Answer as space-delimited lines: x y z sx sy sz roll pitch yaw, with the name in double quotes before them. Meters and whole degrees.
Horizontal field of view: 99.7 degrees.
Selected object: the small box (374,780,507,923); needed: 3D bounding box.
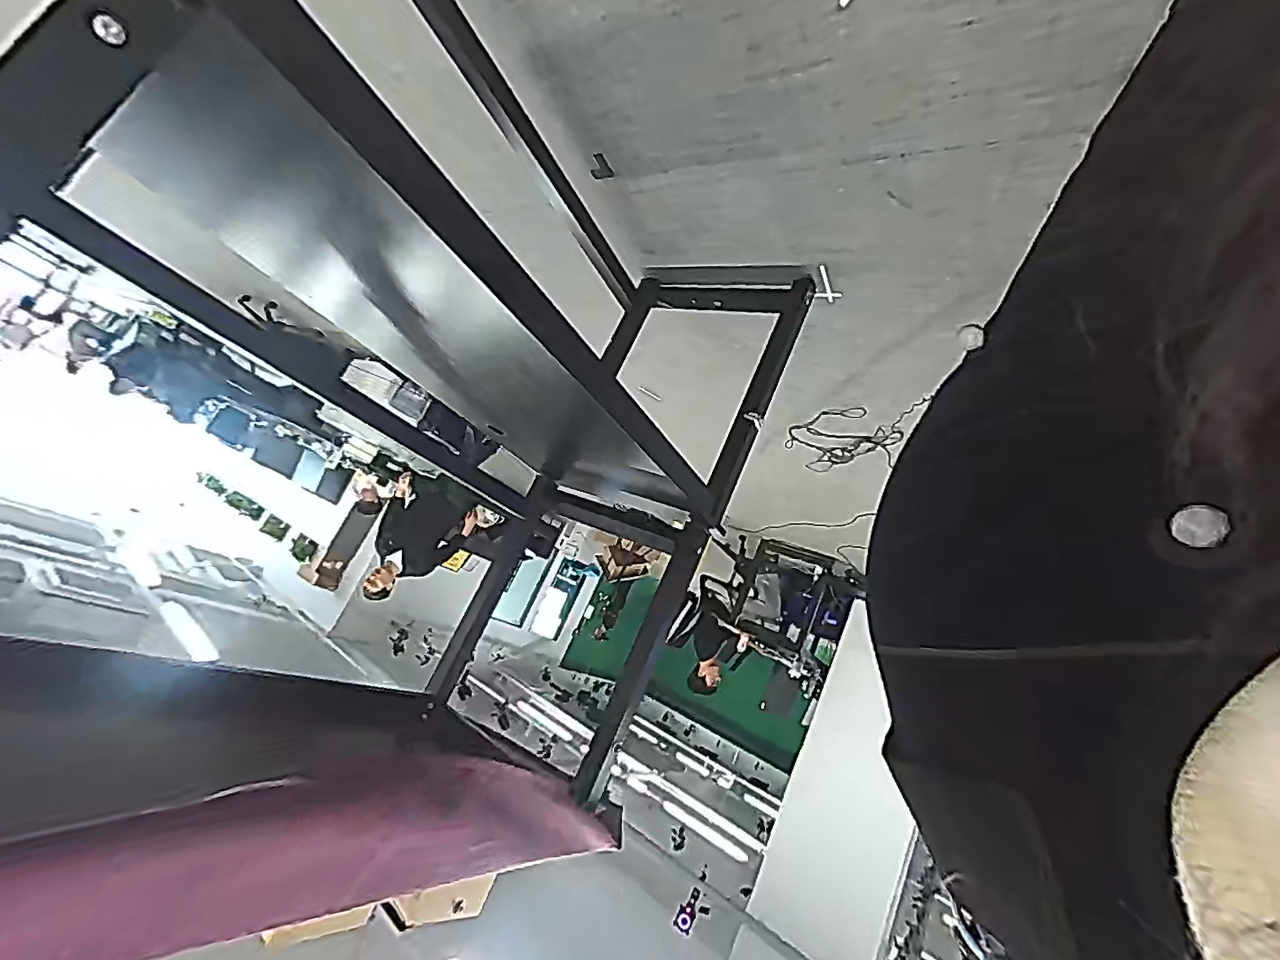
"small box" -0.393 0.713 1.062 0.179 0.176 0.168 13 162 43
